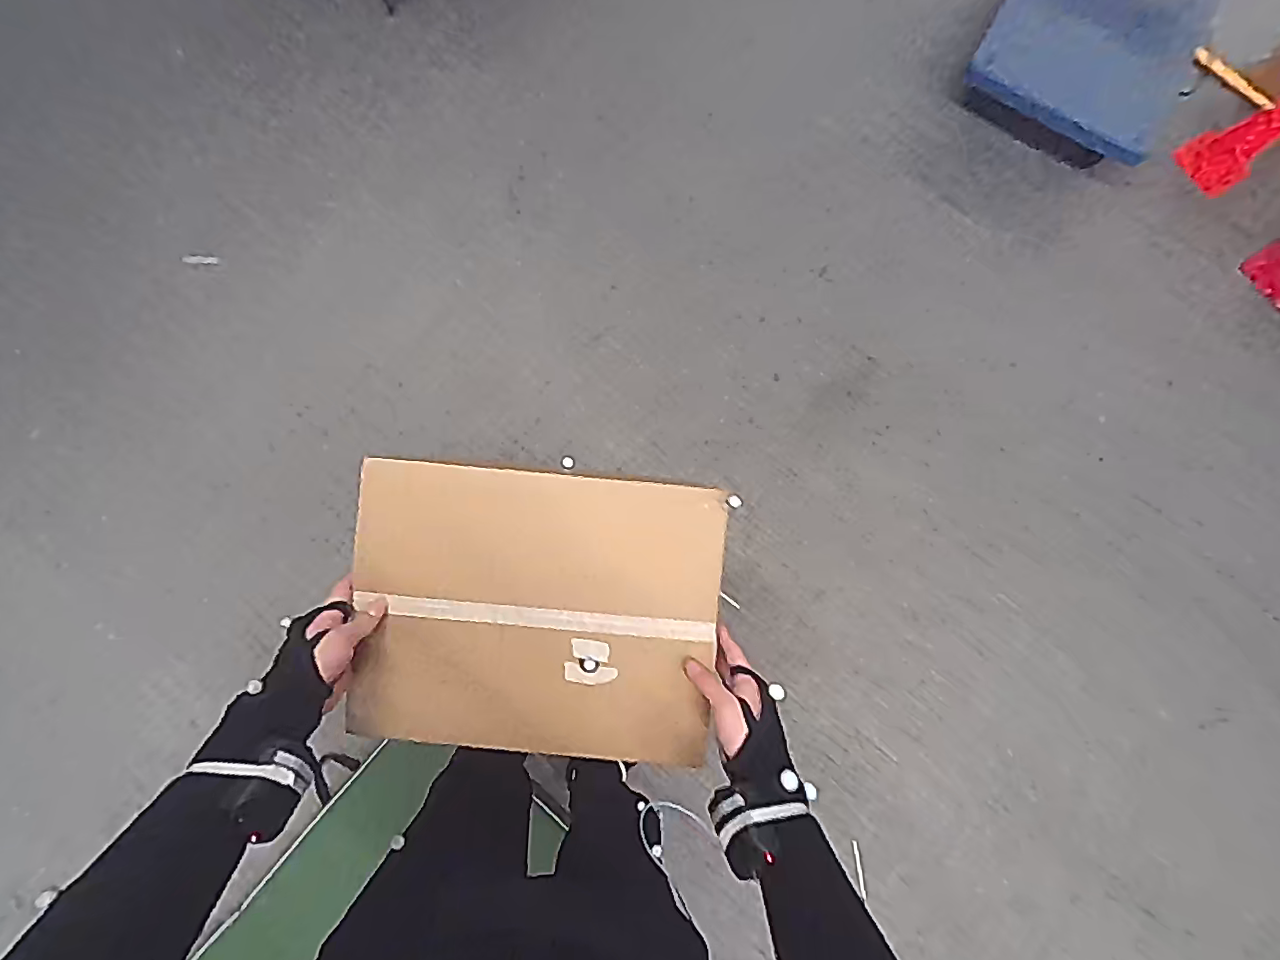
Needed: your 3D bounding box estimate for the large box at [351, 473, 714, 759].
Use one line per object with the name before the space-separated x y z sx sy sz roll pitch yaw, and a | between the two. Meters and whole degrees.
large box | -0.125 0.155 0.760 0.408 0.320 0.320 4 91 -1
